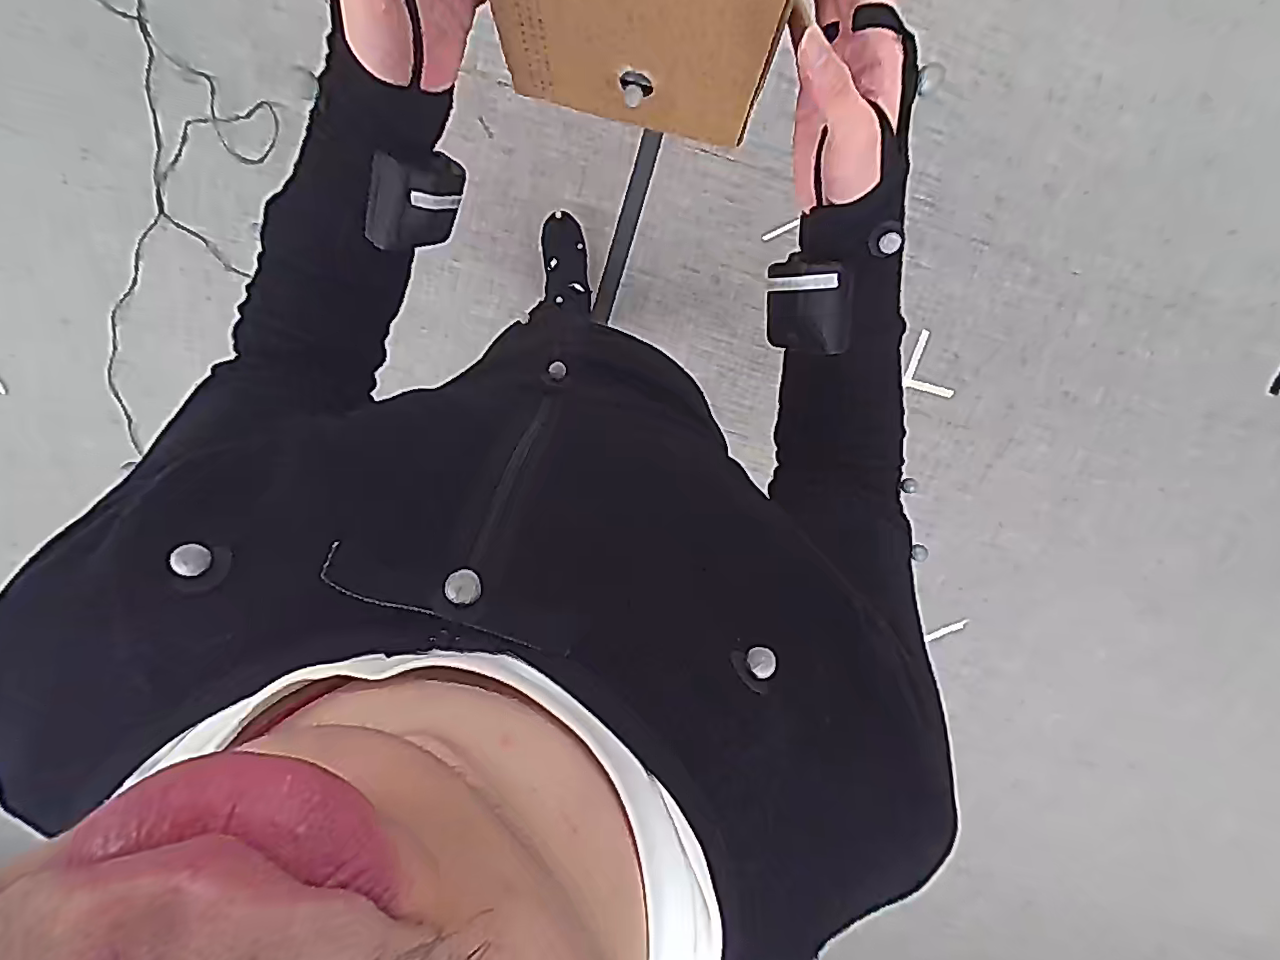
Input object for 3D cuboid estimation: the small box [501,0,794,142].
[{"bbox_3d":[0.013,-0.341,0.309,0.176,0.179,0.168,12,92,-2],"label":"small box"}]
